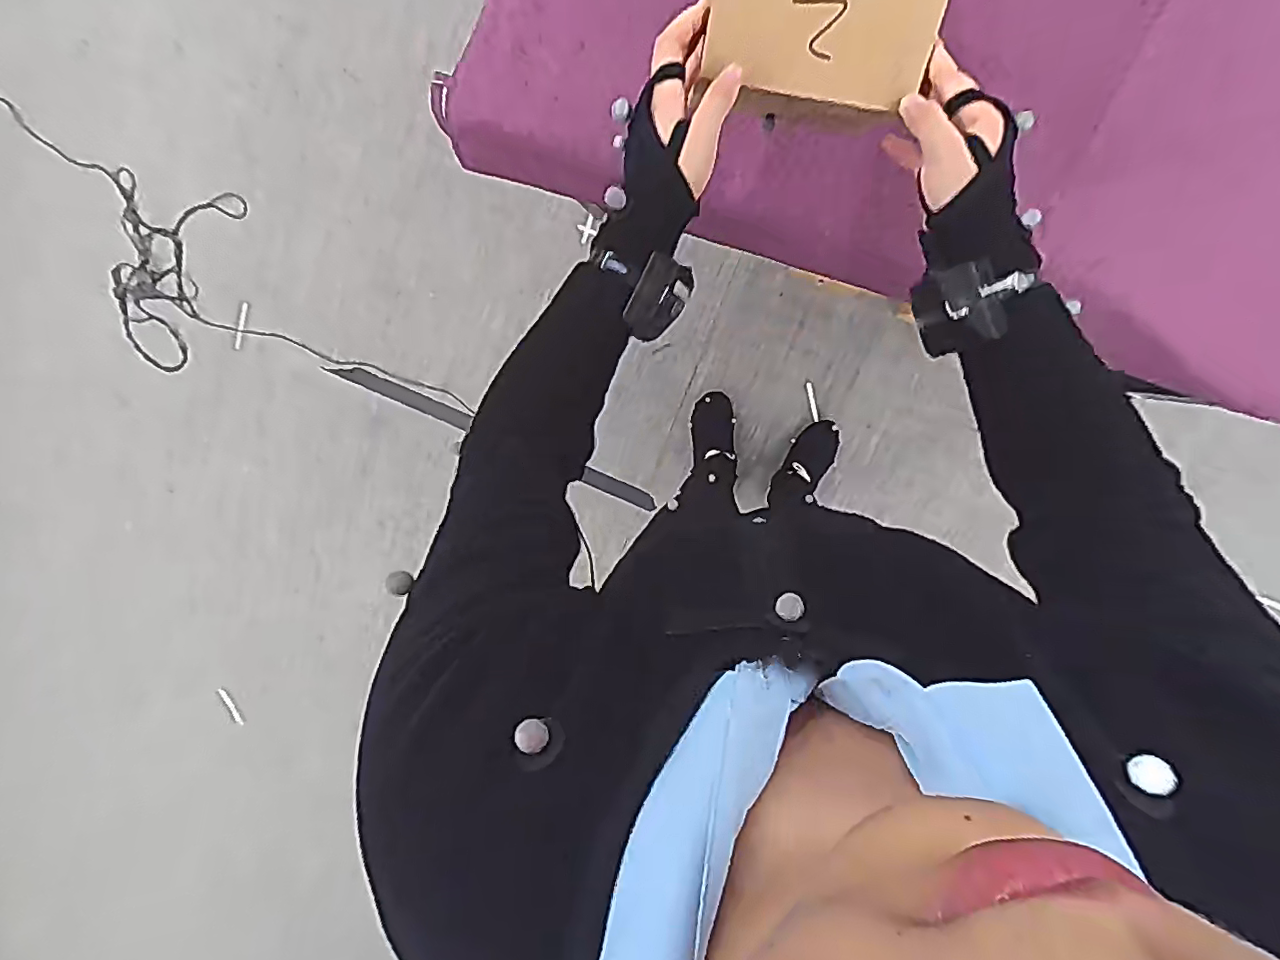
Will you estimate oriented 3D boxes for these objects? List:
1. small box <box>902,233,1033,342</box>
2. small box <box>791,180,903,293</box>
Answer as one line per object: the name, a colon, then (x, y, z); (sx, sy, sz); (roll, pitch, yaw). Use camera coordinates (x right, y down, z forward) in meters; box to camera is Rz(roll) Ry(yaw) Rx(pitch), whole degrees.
small box: (0.724, -0.425, 1.226); (0.168, 0.176, 0.179); (25, 105, 1)
small box: (0.459, -0.542, 1.231); (0.168, 0.176, 0.179); (23, 105, 1)
